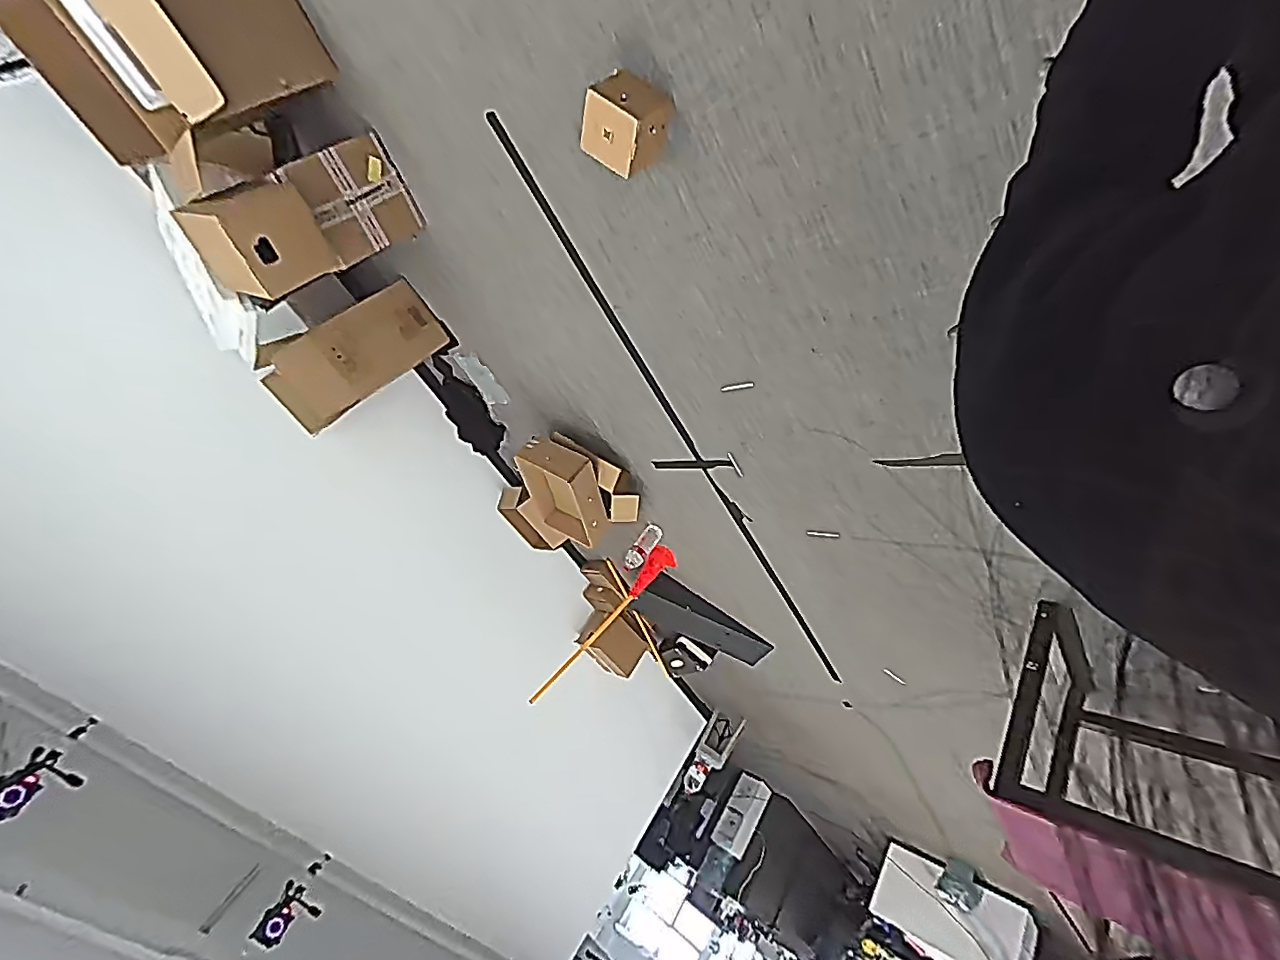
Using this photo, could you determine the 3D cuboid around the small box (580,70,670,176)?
[{"bbox_3d":[-0.040,-0.998,1.505,0.179,0.176,0.168,37,150,7],"label":"small box"}]
